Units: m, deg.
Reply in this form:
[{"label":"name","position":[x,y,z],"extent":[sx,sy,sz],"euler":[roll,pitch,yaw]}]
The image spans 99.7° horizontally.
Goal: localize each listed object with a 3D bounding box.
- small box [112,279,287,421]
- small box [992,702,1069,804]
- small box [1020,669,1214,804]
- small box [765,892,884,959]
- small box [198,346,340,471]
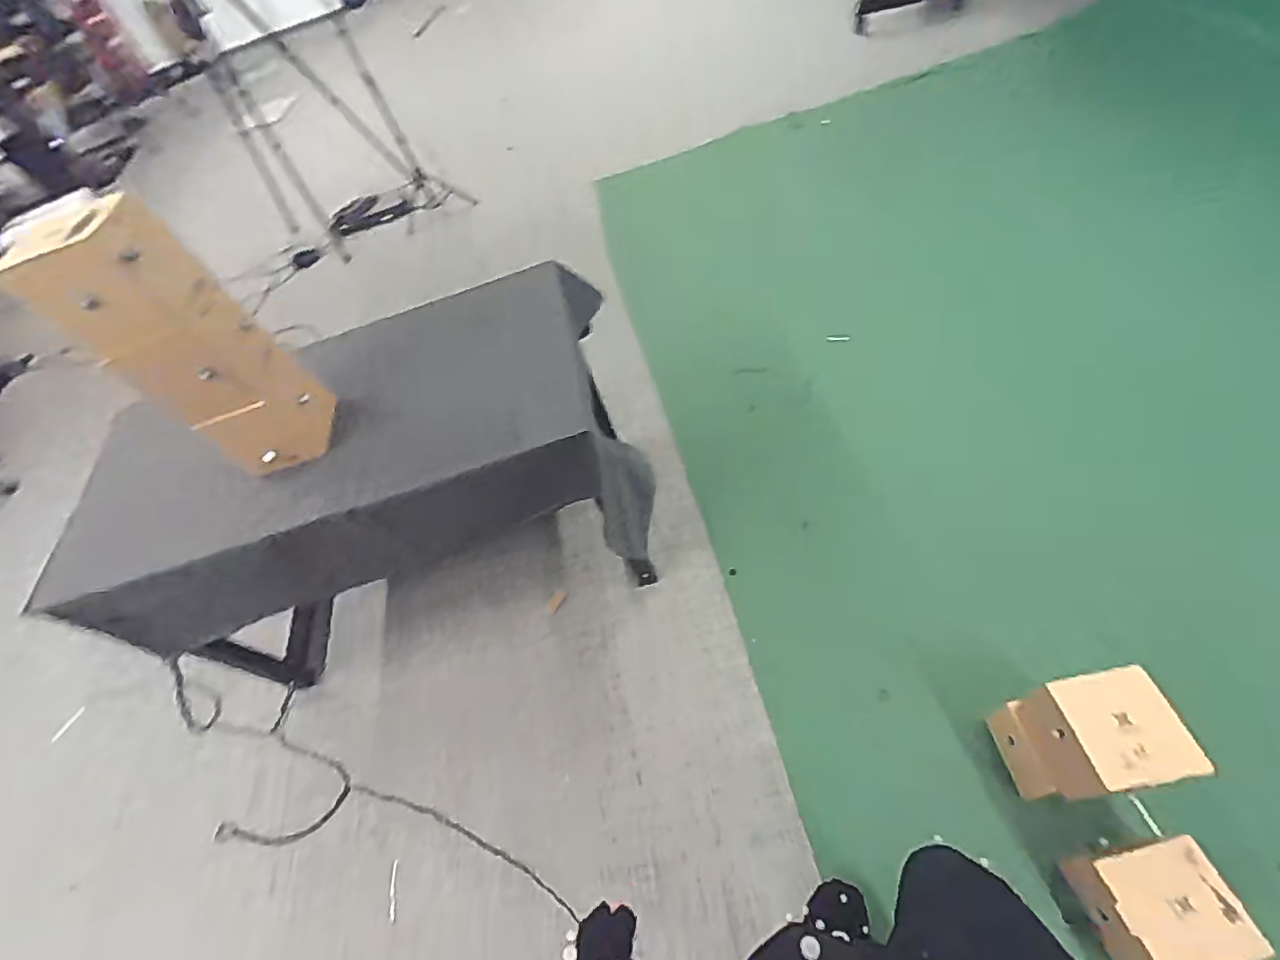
[{"label":"small box","position":[-0.814,-0.242,1.024],"extent":[0.179,0.176,0.168],"euler":[-19,52,3]},{"label":"small box","position":[0.858,0.554,1.109],"extent":[0.179,0.176,0.168],"euler":[-13,53,6]},{"label":"small box","position":[0.833,0.464,0.972],"extent":[0.168,0.176,0.179],"euler":[-14,53,6]},{"label":"small box","position":[0.359,0.917,1.010],"extent":[0.168,0.176,0.179],"euler":[-40,33,2]},{"label":"small box","position":[-0.773,-0.148,1.151],"extent":[0.168,0.176,0.179],"euler":[-17,53,4]}]
